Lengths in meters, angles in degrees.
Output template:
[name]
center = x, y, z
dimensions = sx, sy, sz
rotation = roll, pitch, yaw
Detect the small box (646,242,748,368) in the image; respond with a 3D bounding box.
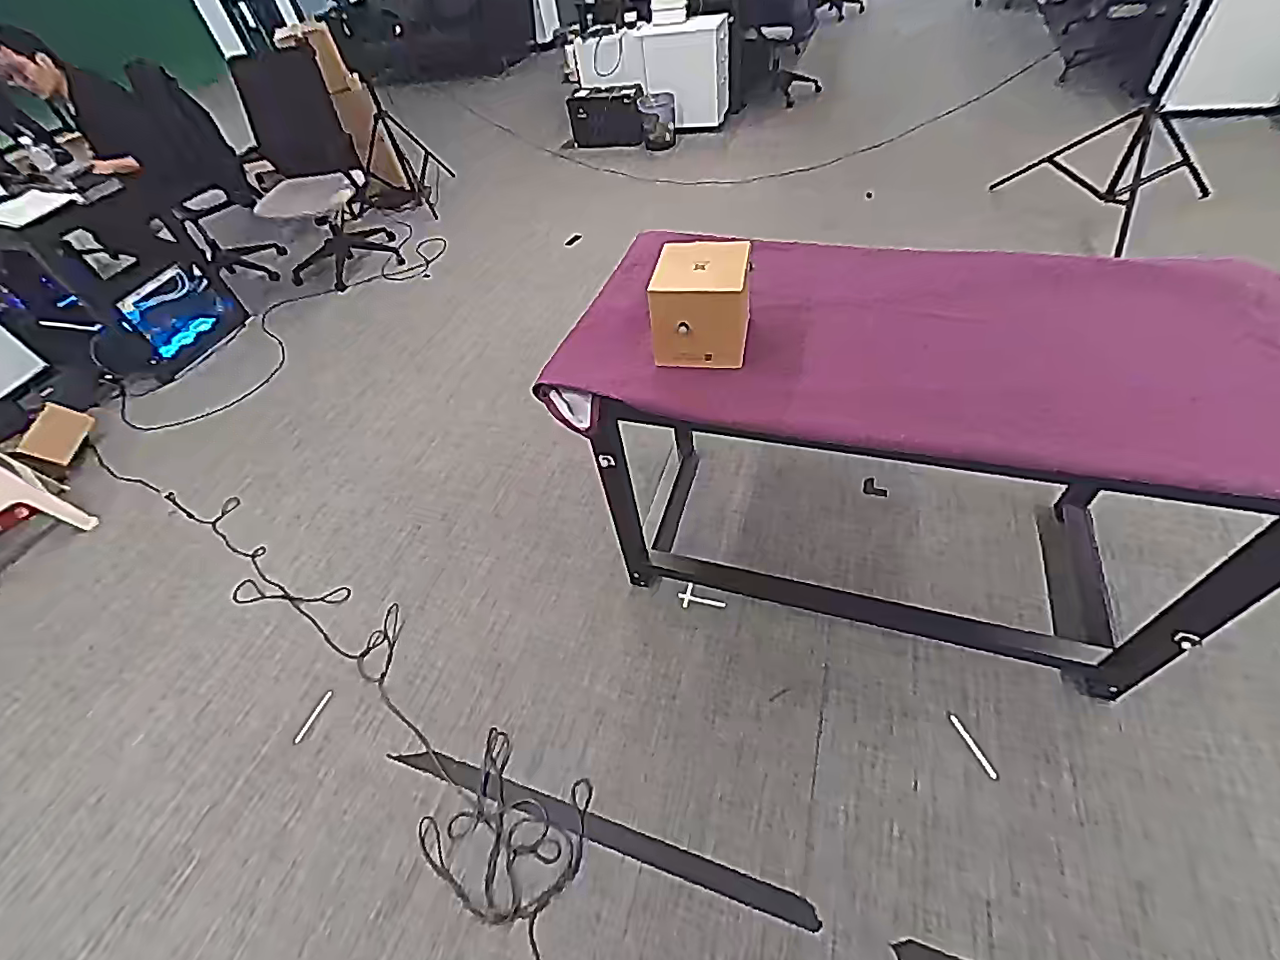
[small box]
center = 0.117, -0.331, 1.036
dimensions = 0.168, 0.176, 0.179
rotation = 4, 50, 13
